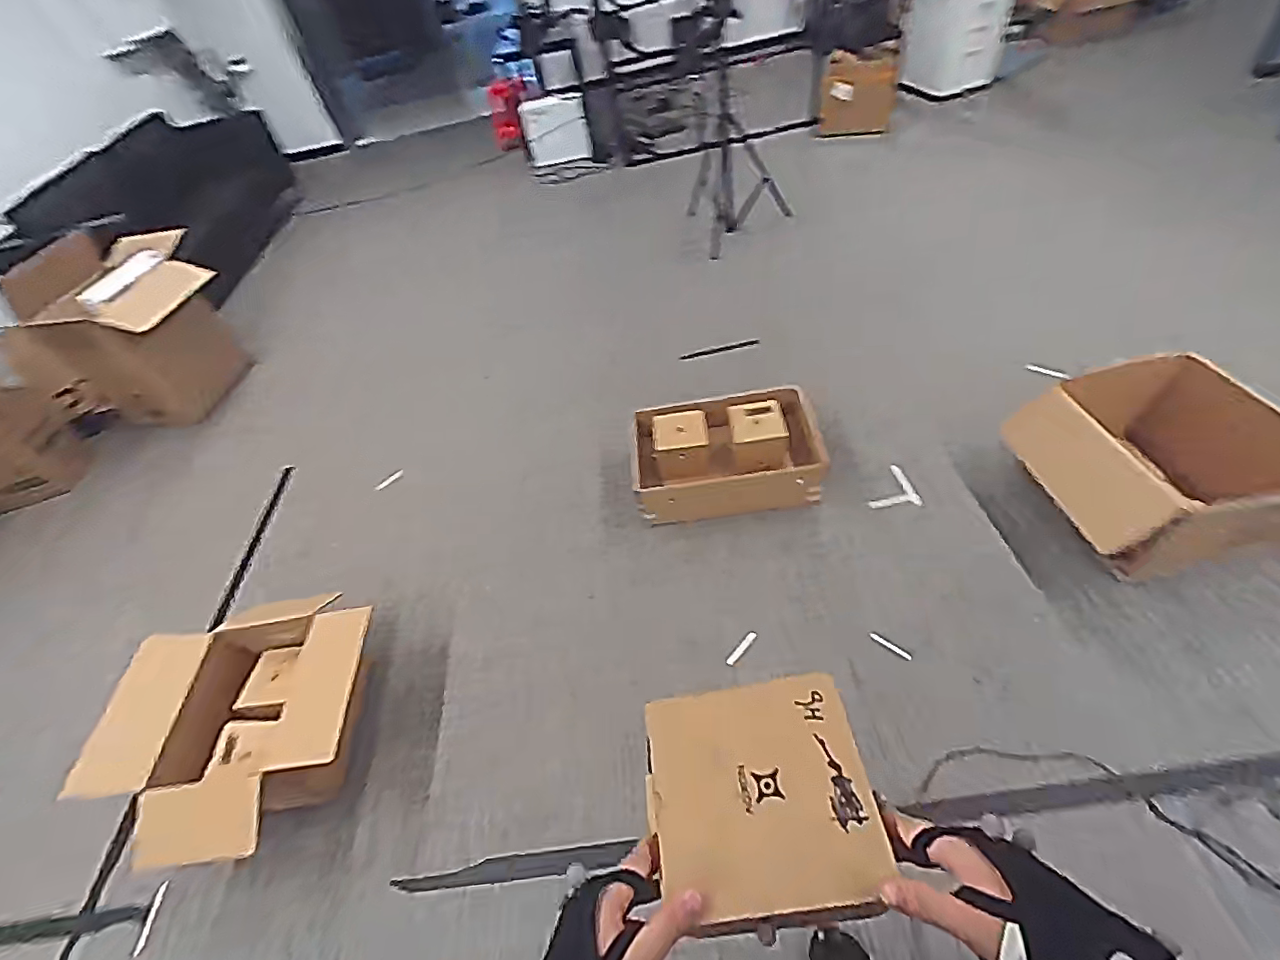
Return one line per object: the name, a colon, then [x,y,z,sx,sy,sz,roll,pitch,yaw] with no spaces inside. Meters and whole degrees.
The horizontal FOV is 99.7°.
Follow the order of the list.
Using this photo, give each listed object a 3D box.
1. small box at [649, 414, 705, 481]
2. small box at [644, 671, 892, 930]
small box: [0.133,-0.110,1.923,0.179,0.176,0.168,-7,50,5]
small box: [0.110,0.303,0.505,0.179,0.176,0.168,-11,46,6]
